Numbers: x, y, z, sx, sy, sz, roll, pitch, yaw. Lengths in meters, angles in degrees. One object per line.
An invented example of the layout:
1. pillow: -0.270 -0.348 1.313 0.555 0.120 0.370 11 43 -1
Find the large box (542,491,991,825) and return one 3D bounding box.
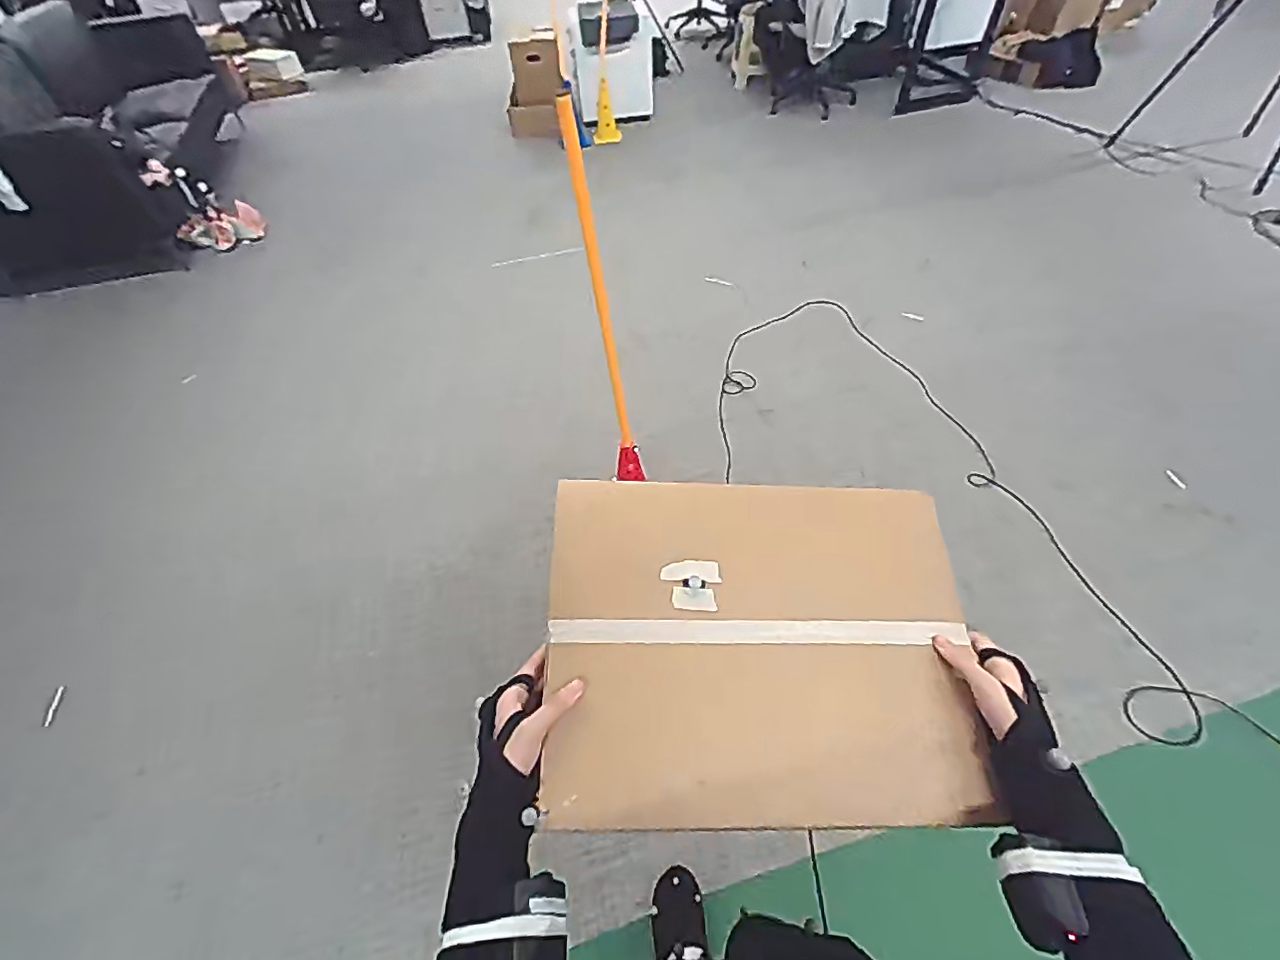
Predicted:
1. large box: 0.108 0.215 0.663 0.408 0.320 0.320 2 65 -3
